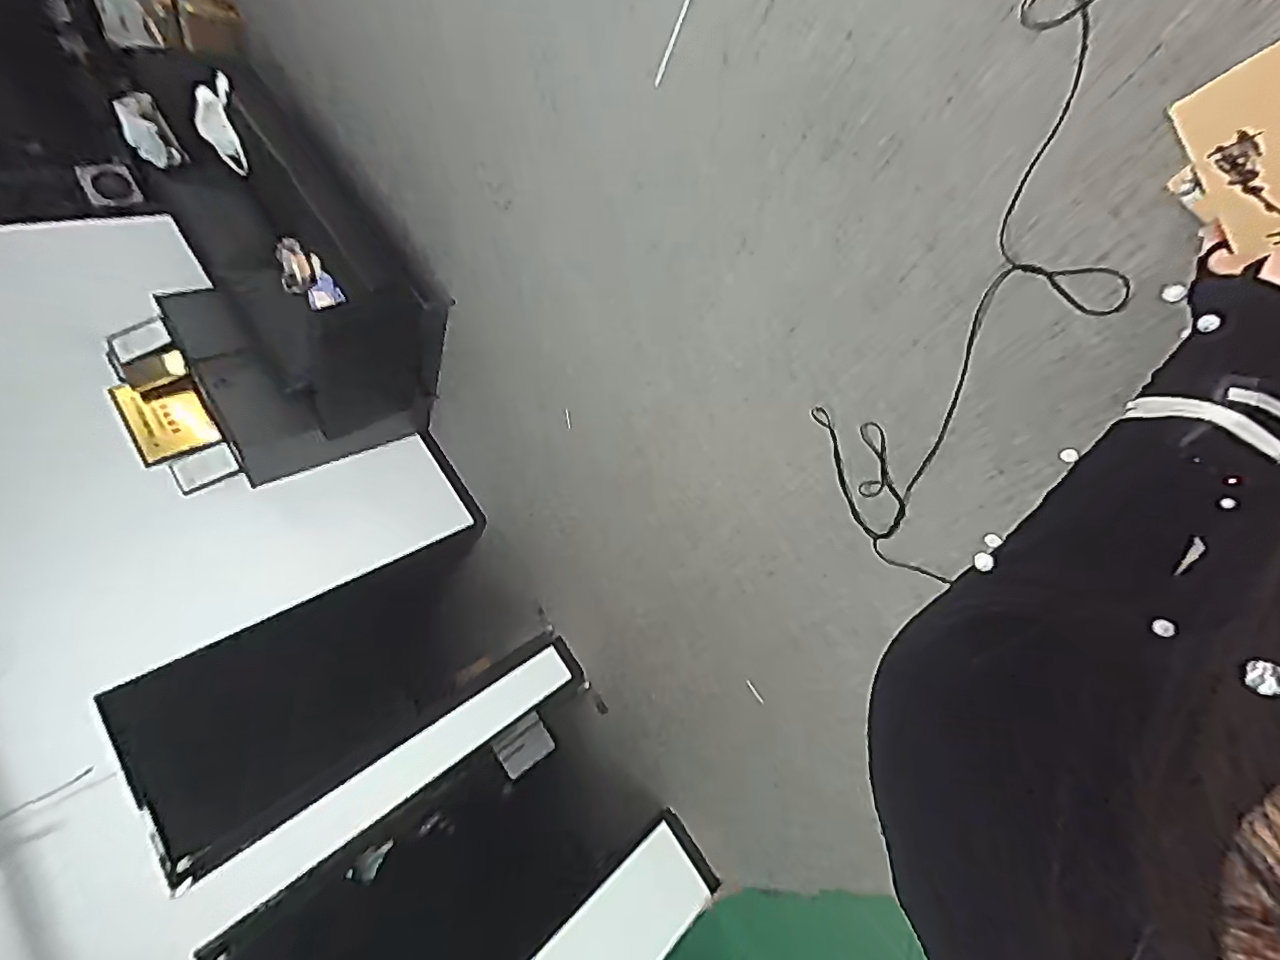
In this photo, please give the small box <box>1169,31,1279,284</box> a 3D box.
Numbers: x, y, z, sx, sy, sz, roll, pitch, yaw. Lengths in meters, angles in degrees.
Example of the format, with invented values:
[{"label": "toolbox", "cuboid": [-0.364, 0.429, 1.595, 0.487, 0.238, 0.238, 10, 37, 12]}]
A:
[{"label": "small box", "cuboid": [0.549, -0.281, 0.414, 0.179, 0.176, 0.168, -24, 97, 50]}]
